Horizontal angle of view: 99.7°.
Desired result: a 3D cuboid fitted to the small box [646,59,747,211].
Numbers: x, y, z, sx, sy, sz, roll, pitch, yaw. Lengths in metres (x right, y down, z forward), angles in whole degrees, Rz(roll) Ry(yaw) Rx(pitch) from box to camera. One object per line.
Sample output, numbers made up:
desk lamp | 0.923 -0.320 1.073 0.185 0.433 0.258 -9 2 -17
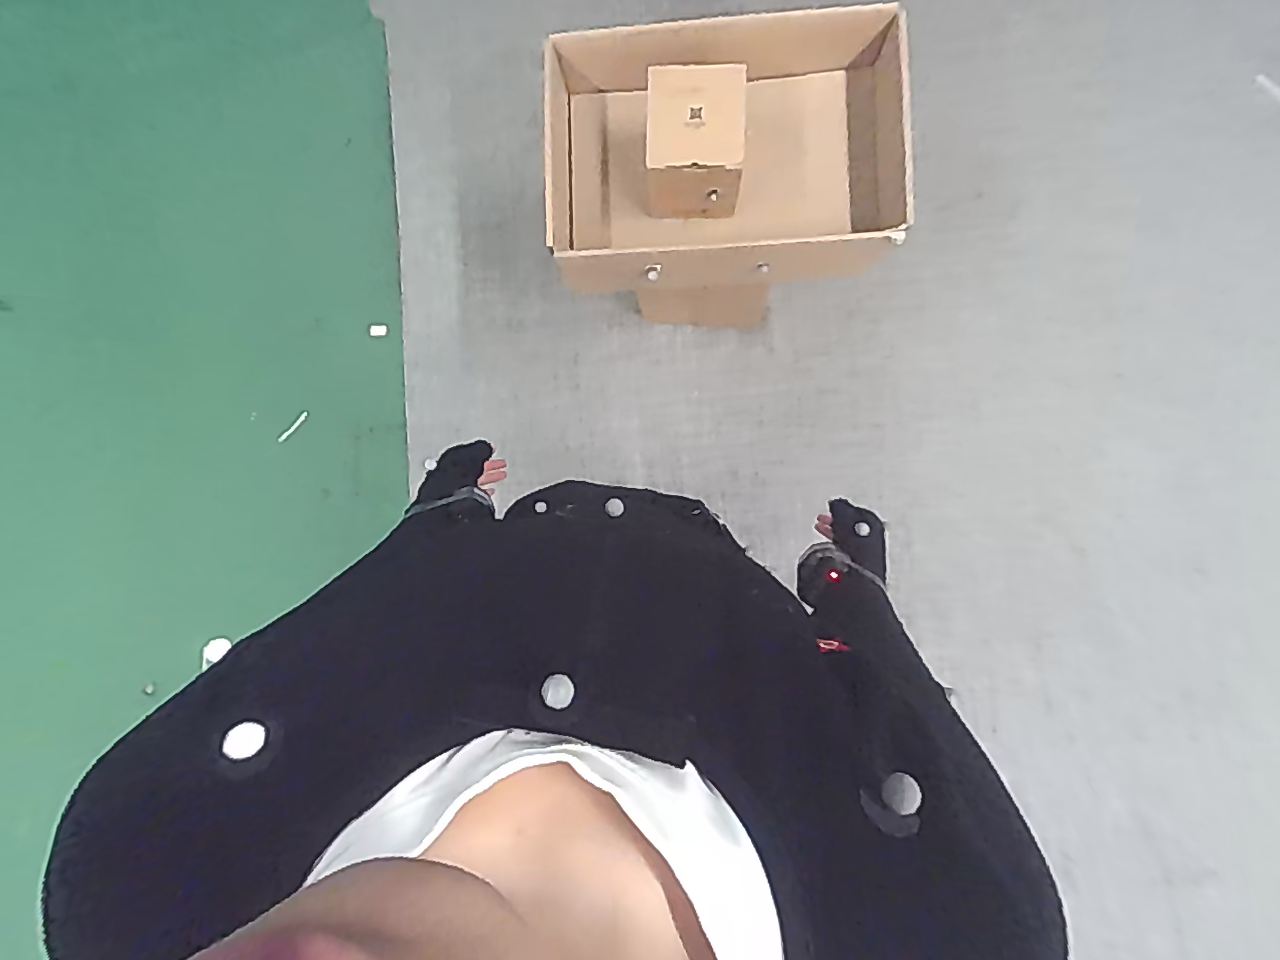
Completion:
small box | 0.098 -0.608 0.975 0.168 0.176 0.179 1 87 3
